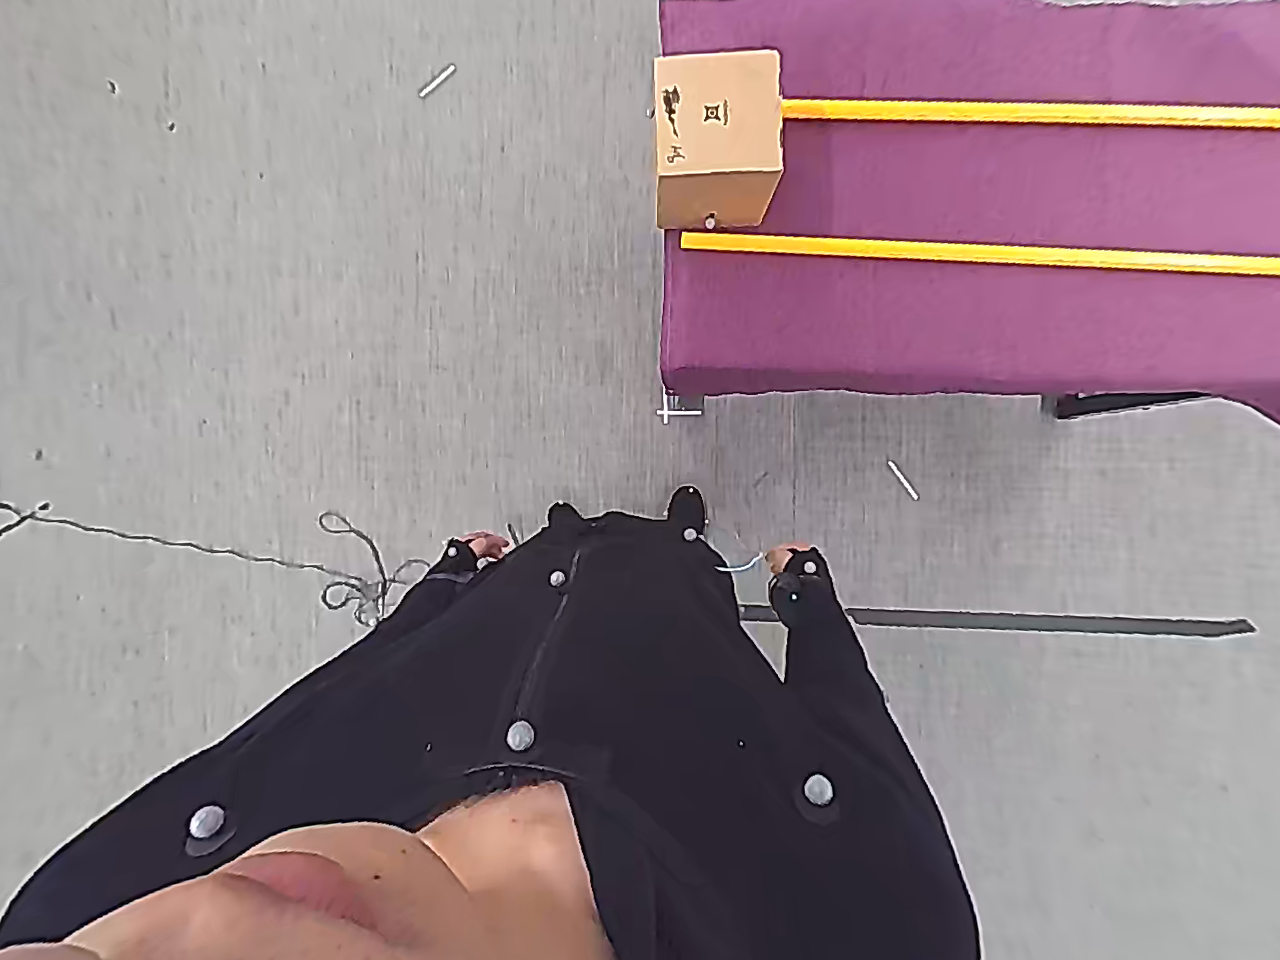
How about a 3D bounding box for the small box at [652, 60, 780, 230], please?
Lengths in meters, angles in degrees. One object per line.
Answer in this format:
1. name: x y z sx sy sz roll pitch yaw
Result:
1. small box: 0.108 -0.506 0.838 0.179 0.176 0.168 -1 91 1
